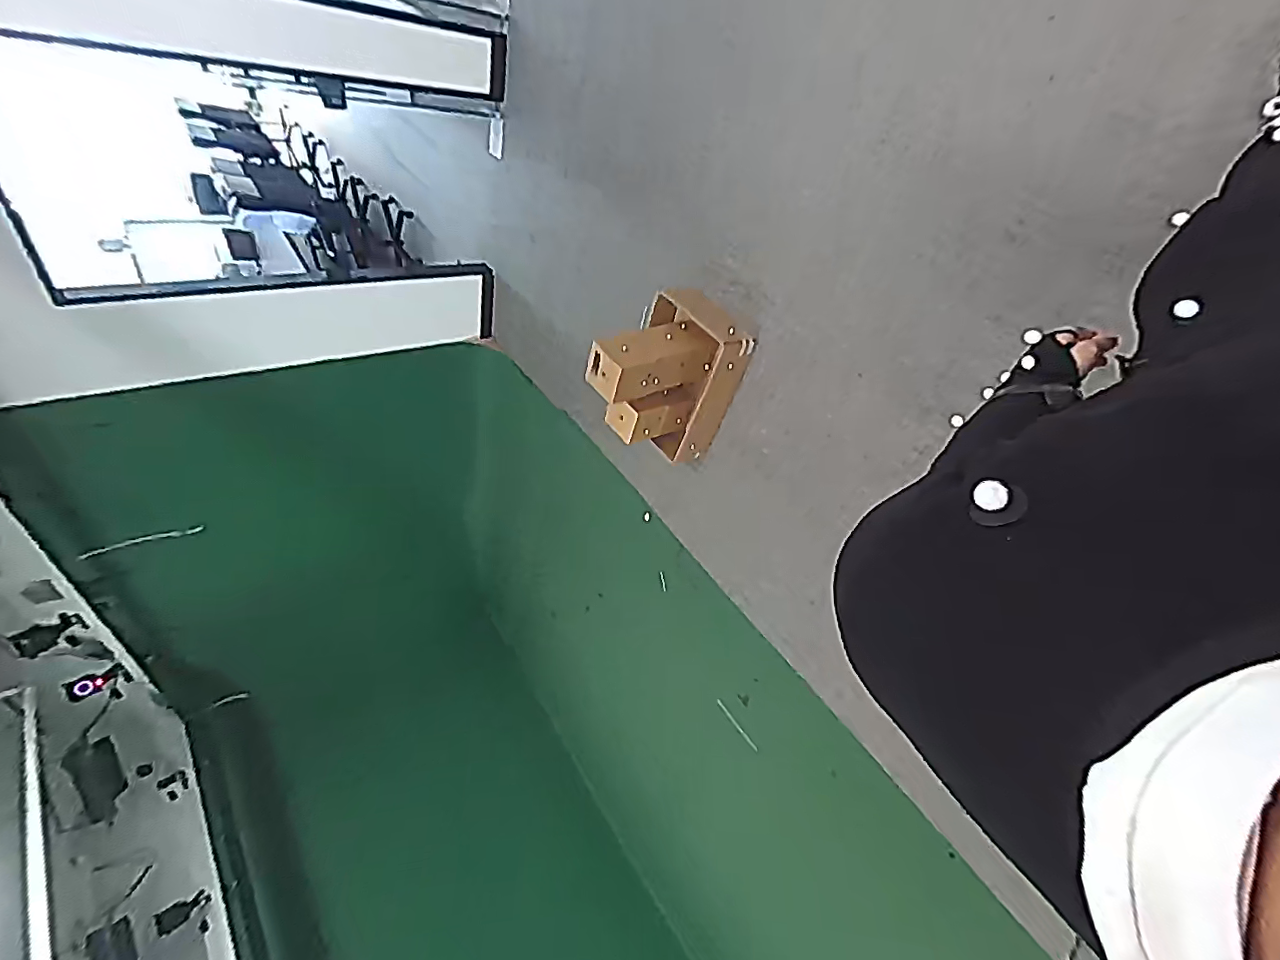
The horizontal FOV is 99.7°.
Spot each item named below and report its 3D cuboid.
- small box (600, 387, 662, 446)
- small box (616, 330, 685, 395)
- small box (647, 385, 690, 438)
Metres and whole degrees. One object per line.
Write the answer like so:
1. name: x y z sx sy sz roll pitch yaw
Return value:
1. small box: -0.034 -0.269 2.225 0.179 0.176 0.168 48 138 28
2. small box: 0.037 -0.451 2.047 0.179 0.176 0.168 49 141 28
3. small box: 0.087 -0.310 2.323 0.179 0.176 0.168 48 138 27
